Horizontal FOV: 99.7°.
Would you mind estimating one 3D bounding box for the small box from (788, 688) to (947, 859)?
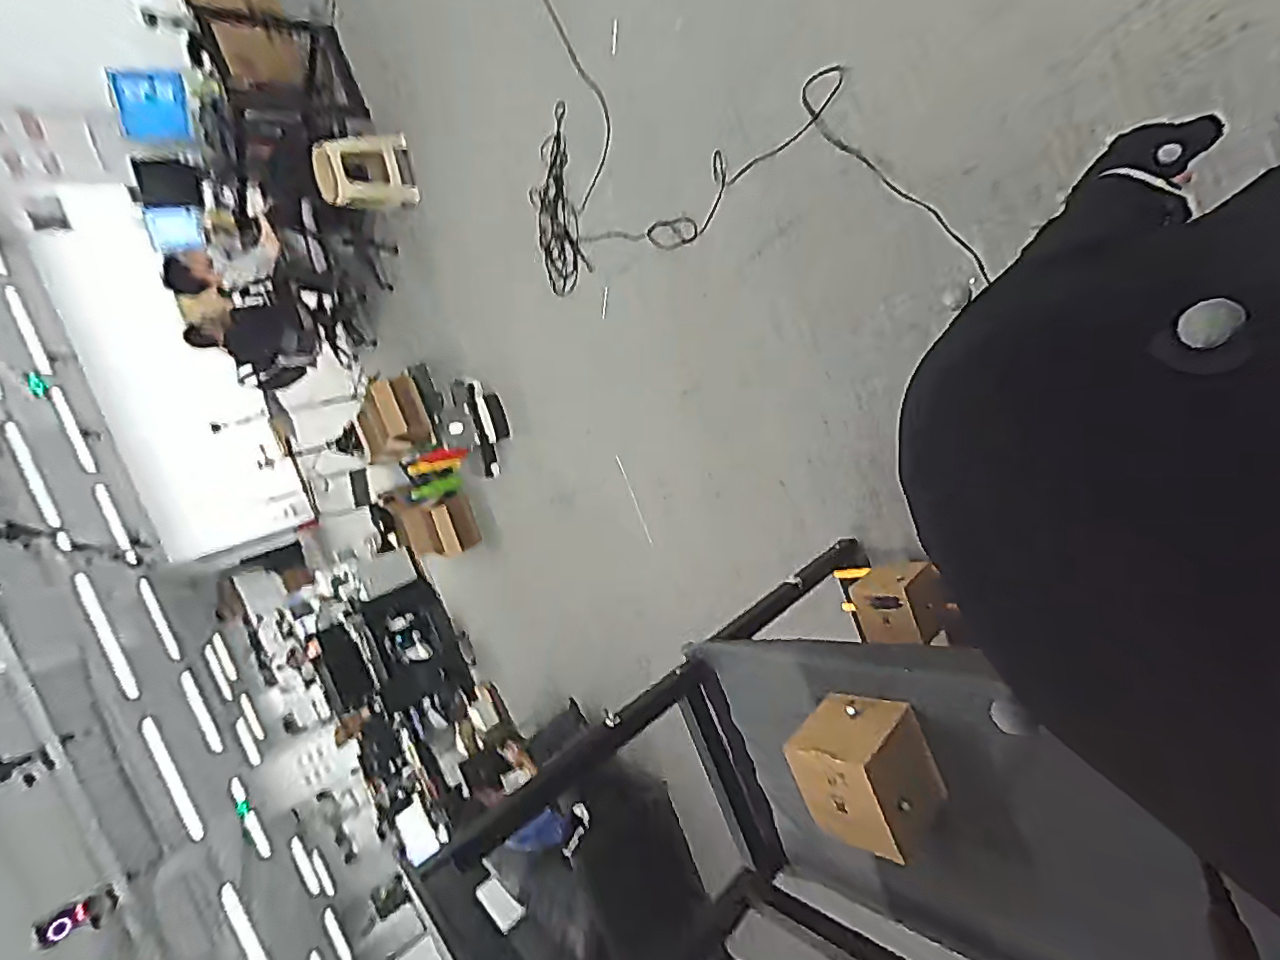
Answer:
[{"bbox_3d":[0.396,0.493,0.937,0.168,0.176,0.179,-20,94,53],"label":"small box"}]
